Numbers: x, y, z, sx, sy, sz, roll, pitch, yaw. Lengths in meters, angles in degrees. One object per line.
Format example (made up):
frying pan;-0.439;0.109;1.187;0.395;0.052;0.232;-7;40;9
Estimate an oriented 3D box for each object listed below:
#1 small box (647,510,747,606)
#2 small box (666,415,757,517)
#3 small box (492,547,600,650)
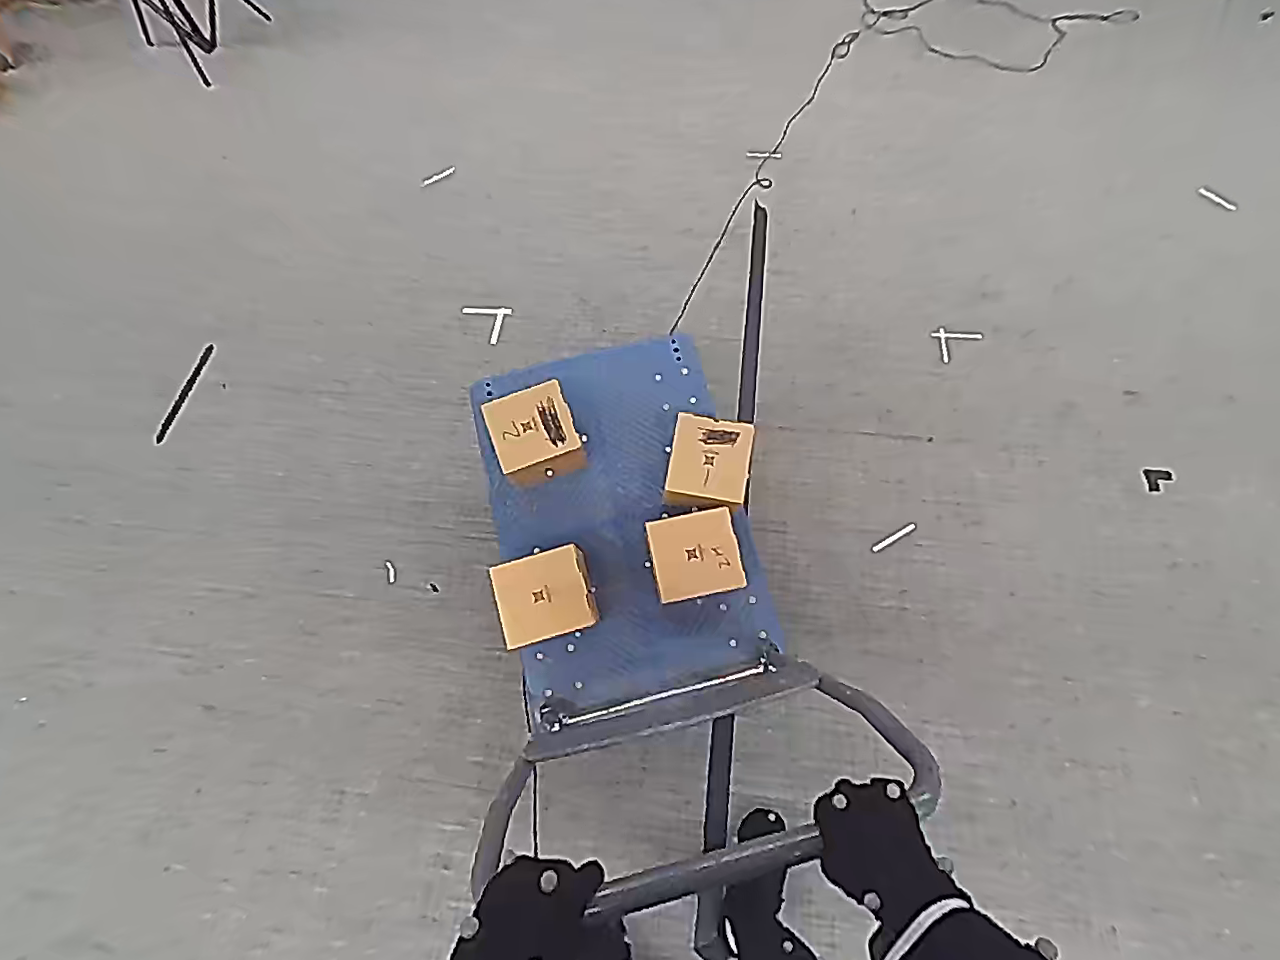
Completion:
small box;0.115;0.173;1.156;0.179;0.176;0.168;-11;77;-2
small box;0.152;-0.023;1.203;0.168;0.176;0.179;10;77;3
small box;-0.191;0.252;1.141;0.179;0.176;0.168;-16;77;-5
